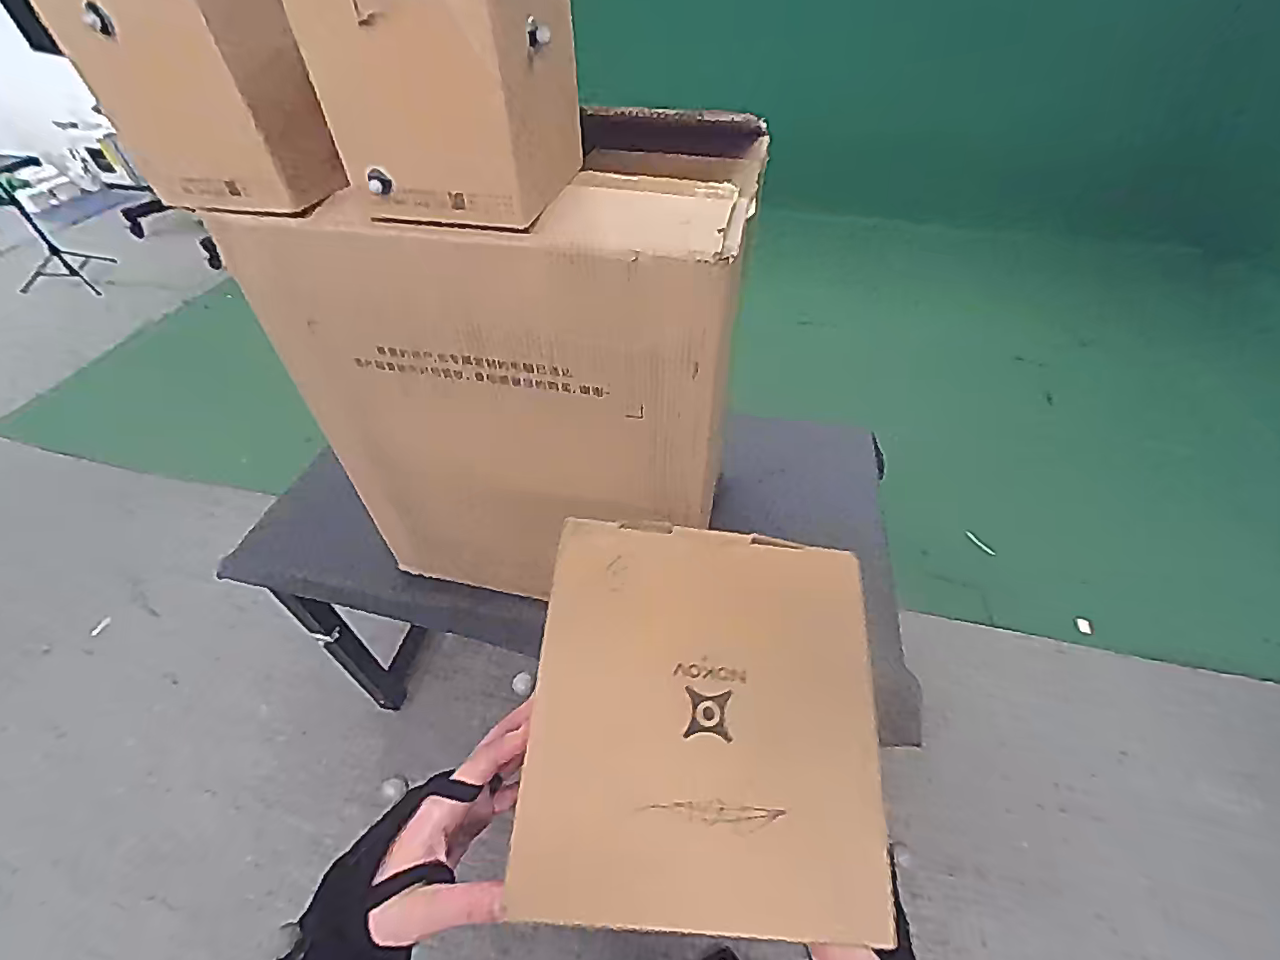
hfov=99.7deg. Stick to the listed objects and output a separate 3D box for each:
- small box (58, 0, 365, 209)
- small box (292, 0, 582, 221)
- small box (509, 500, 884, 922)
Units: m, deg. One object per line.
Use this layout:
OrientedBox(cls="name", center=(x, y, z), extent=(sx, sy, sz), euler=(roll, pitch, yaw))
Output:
OrientedBox(cls="small box", center=(-0.375, -0.385, 0.527), extent=(0.168, 0.176, 0.179), euler=(9, 47, 13))
OrientedBox(cls="small box", center=(-0.157, -0.353, 0.490), extent=(0.168, 0.176, 0.179), euler=(10, 47, 9))
OrientedBox(cls="small box", center=(0.024, 0.133, 0.335), extent=(0.168, 0.176, 0.179), euler=(8, 65, -3))
